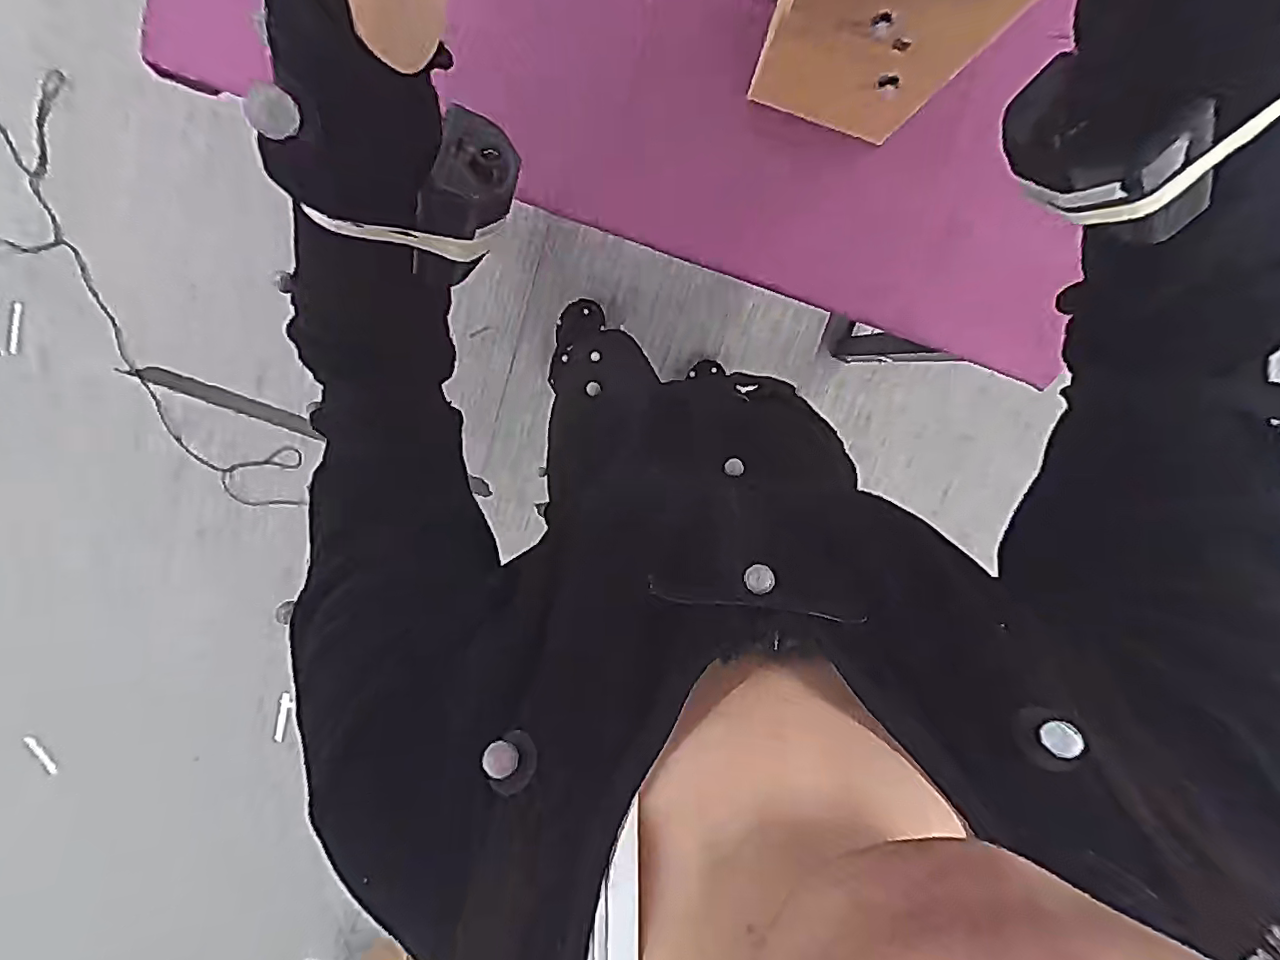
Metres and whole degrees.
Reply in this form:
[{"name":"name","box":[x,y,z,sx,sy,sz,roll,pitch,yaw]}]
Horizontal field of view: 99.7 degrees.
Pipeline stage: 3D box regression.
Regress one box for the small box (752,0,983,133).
[{"name":"small box","box":[0.236,-0.496,0.560,0.179,0.176,0.168,17,101,-3]}]

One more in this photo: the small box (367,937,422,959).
[{"name":"small box","box":[-0.848,1.683,1.801,0.168,0.176,0.179,17,102,-3]}]
